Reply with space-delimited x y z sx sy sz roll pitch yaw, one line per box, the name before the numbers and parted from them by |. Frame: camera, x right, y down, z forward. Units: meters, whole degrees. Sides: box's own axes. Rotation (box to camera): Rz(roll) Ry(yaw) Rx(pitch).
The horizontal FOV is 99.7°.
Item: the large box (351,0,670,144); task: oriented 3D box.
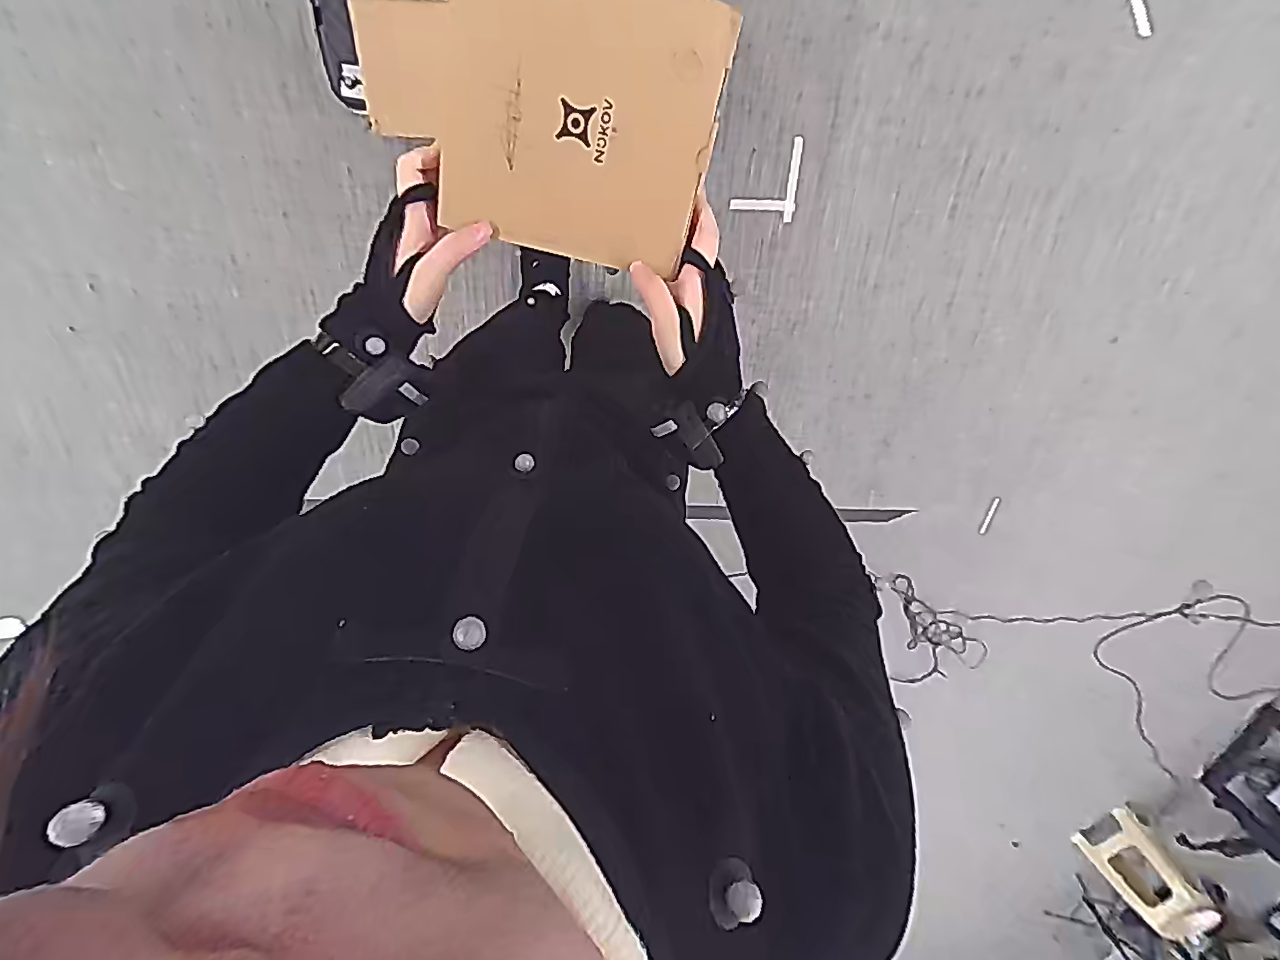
large box | -0.170 -0.683 0.801 0.408 0.320 0.320 -1 119 -5
